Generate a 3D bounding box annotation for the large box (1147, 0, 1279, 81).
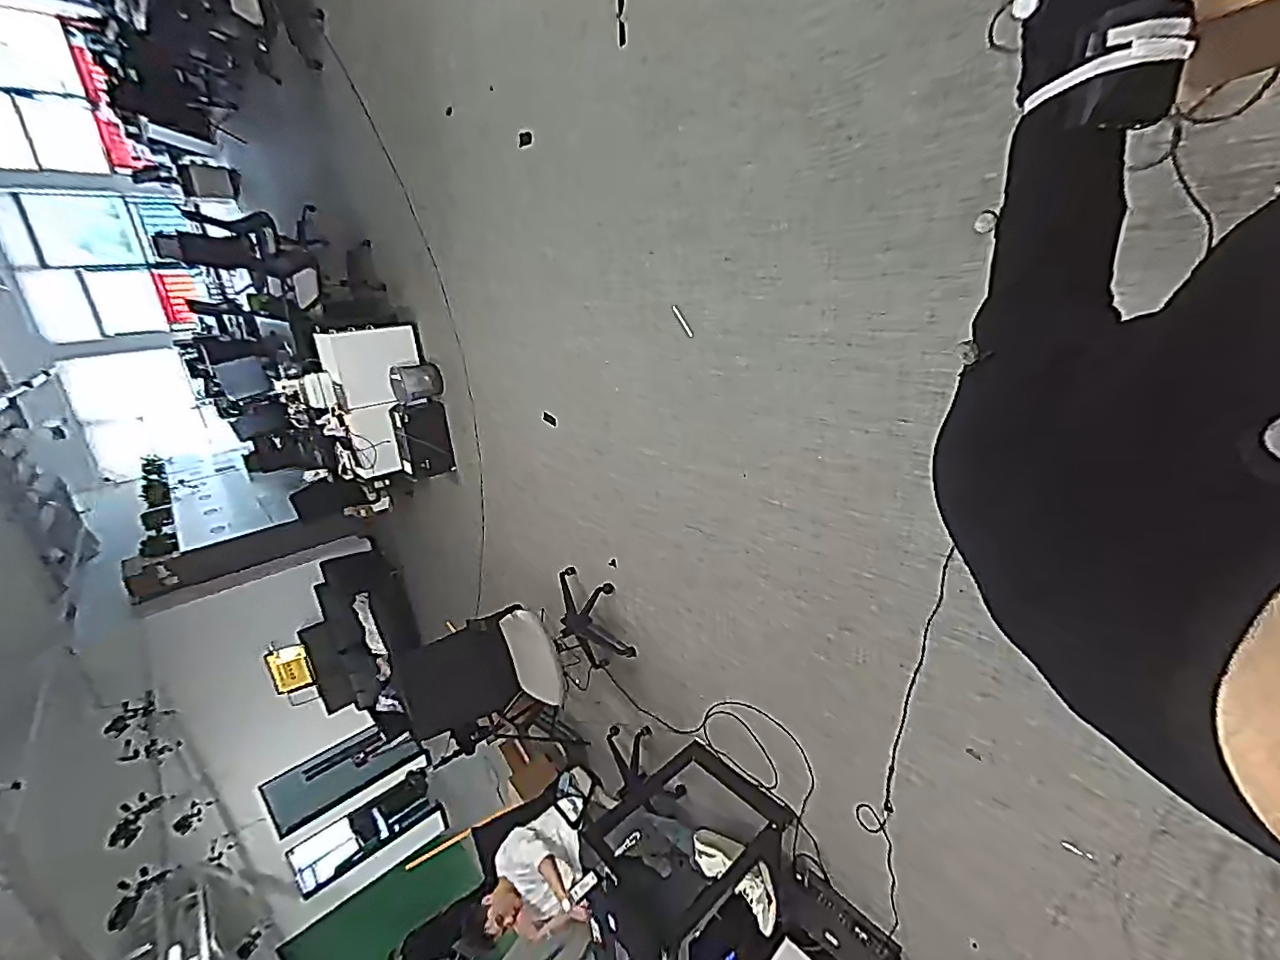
[{"bbox_3d":[0.556,-0.479,0.272,0.408,0.320,0.320,9,117,48],"label":"large box"}]
